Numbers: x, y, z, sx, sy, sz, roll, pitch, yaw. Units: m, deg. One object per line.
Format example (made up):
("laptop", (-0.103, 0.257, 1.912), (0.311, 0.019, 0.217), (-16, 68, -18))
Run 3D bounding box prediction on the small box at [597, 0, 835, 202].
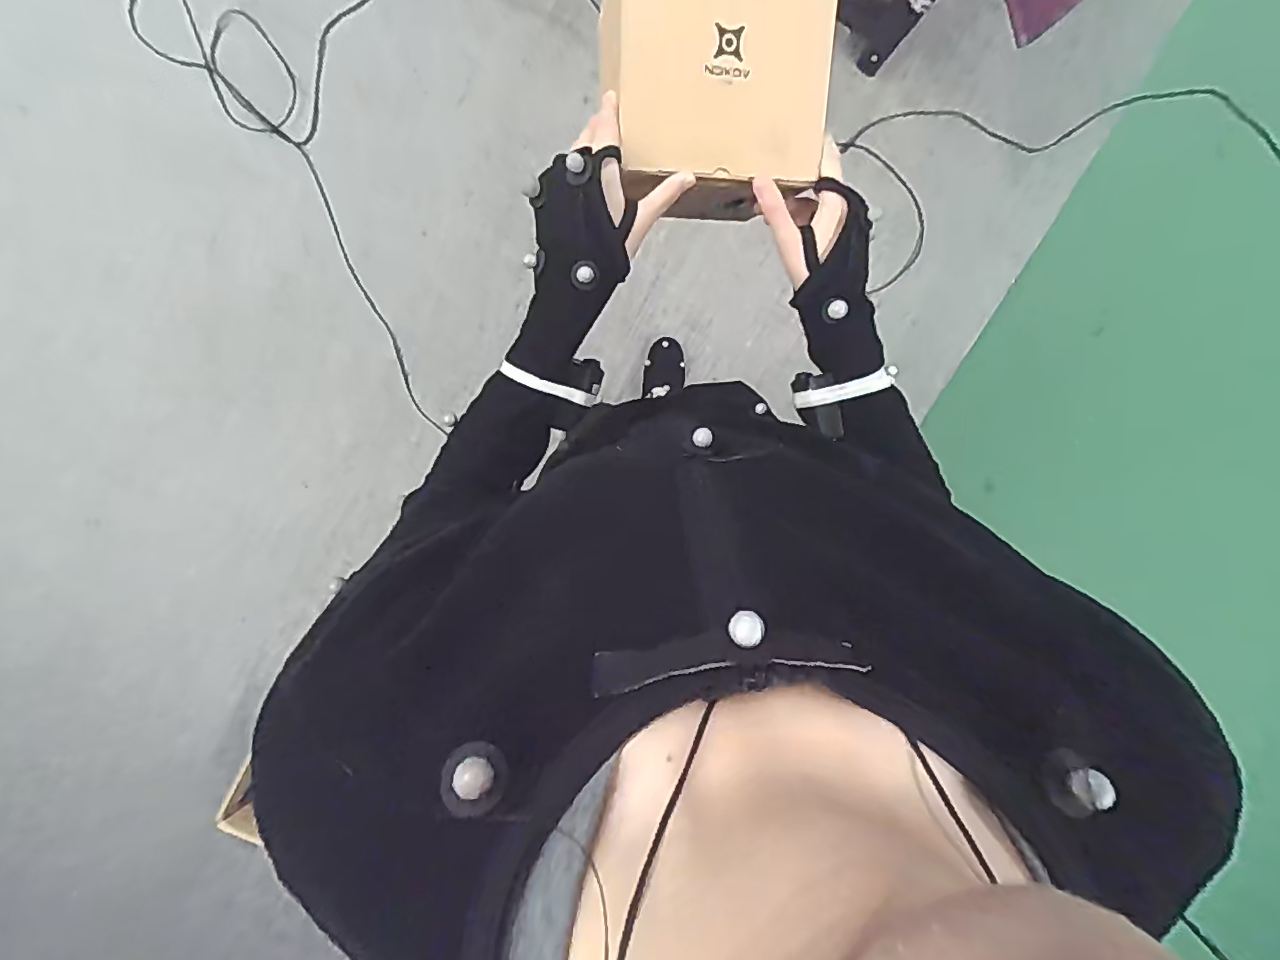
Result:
("small box", (0.052, -0.356, 0.474), (0.168, 0.176, 0.179), (-1, 106, -9))
